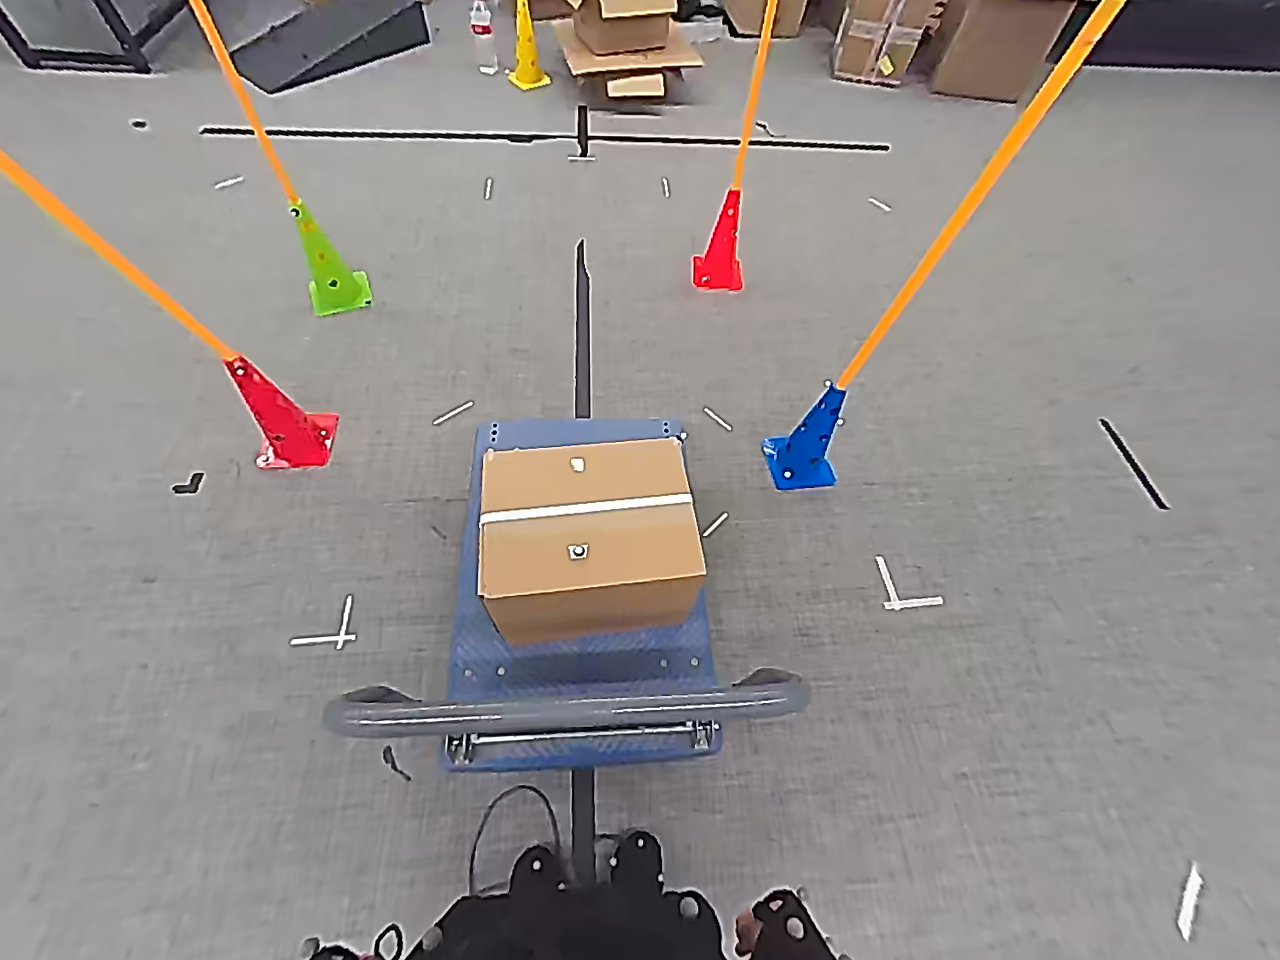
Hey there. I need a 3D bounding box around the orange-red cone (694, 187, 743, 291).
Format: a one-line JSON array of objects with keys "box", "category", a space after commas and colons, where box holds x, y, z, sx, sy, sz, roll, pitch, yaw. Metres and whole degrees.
[{"box": [0.330, -0.926, 2.041, 0.199, 0.360, 0.198, 5, 59, -3], "category": "orange-red cone"}]

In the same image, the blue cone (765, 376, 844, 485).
[{"box": [0.519, -0.155, 1.594, 0.193, 0.380, 0.192, -5, 58, -7], "category": "blue cone"}]
